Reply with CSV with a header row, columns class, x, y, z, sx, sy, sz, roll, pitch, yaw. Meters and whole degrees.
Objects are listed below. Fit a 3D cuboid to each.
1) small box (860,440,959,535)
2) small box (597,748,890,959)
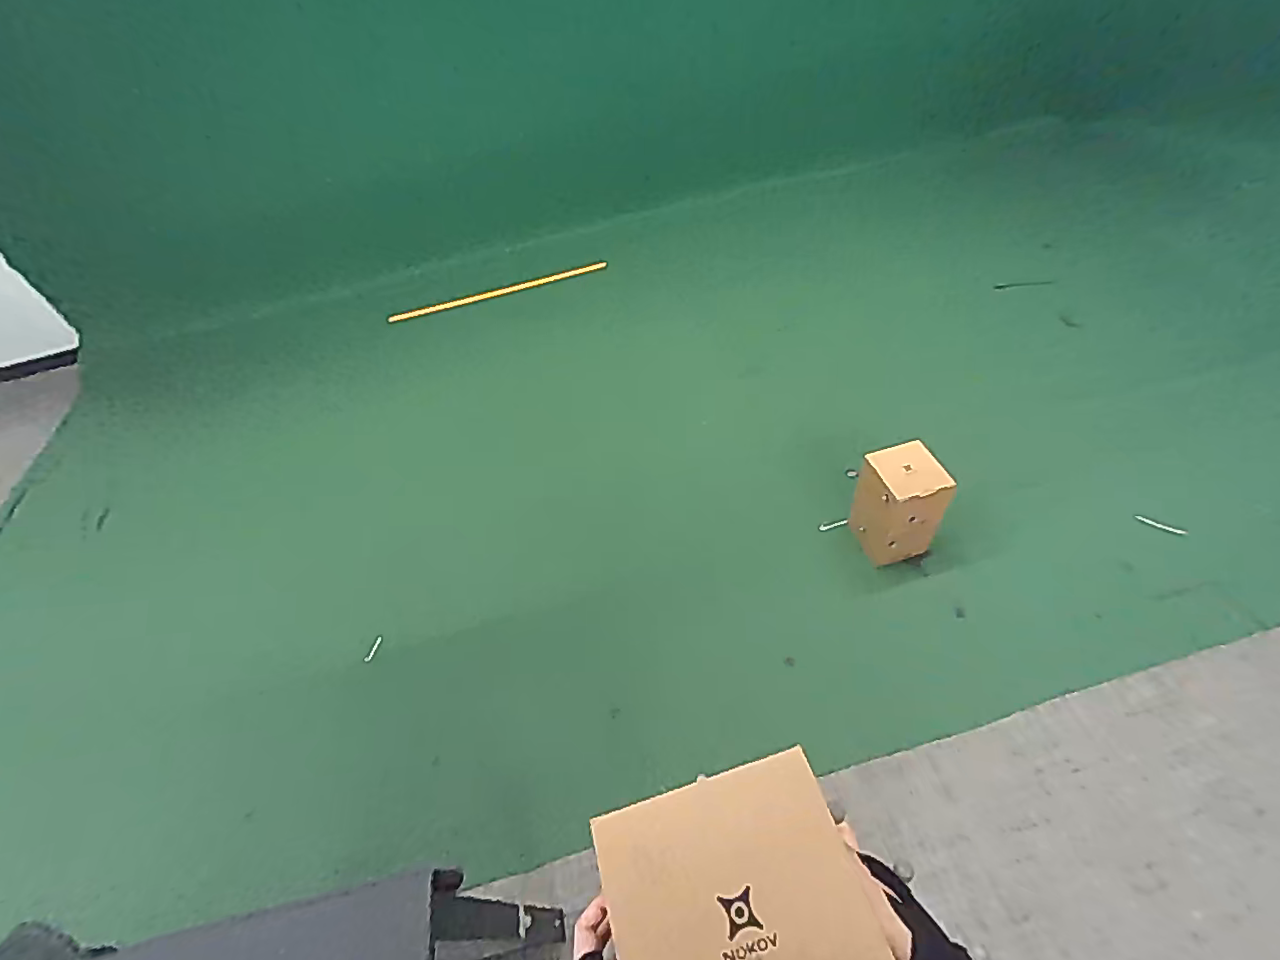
class,x,y,z,sx,sy,sz,roll,pitch,yaw
small box,0.738,0.022,1.507,0.168,0.176,0.179,-16,49,-3
small box,0.076,0.337,0.414,0.168,0.176,0.179,-17,53,-3
